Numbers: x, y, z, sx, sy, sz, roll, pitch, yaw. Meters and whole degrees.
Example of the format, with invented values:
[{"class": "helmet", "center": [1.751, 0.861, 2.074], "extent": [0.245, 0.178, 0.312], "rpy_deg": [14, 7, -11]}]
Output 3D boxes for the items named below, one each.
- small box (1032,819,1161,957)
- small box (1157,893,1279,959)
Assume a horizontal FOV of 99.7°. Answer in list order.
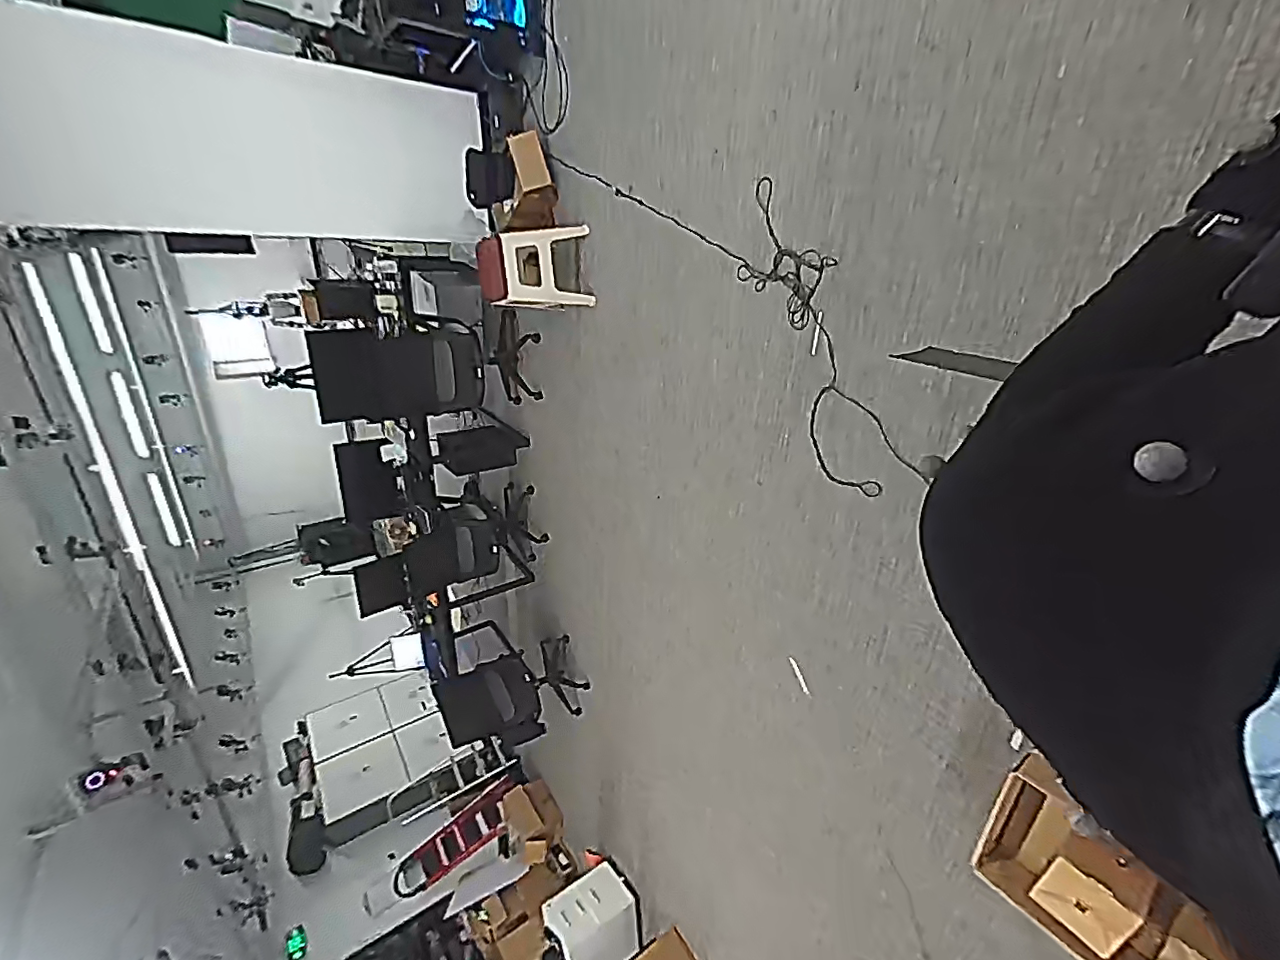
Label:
[{"class": "small box", "center": [1.104, 0.978, 1.308], "extent": [0.168, 0.176, 0.179], "rpy_deg": [36, 130, 44]}, {"class": "small box", "center": [1.229, 1.035, 1.139], "extent": [0.168, 0.176, 0.179], "rpy_deg": [30, 126, 50]}]
